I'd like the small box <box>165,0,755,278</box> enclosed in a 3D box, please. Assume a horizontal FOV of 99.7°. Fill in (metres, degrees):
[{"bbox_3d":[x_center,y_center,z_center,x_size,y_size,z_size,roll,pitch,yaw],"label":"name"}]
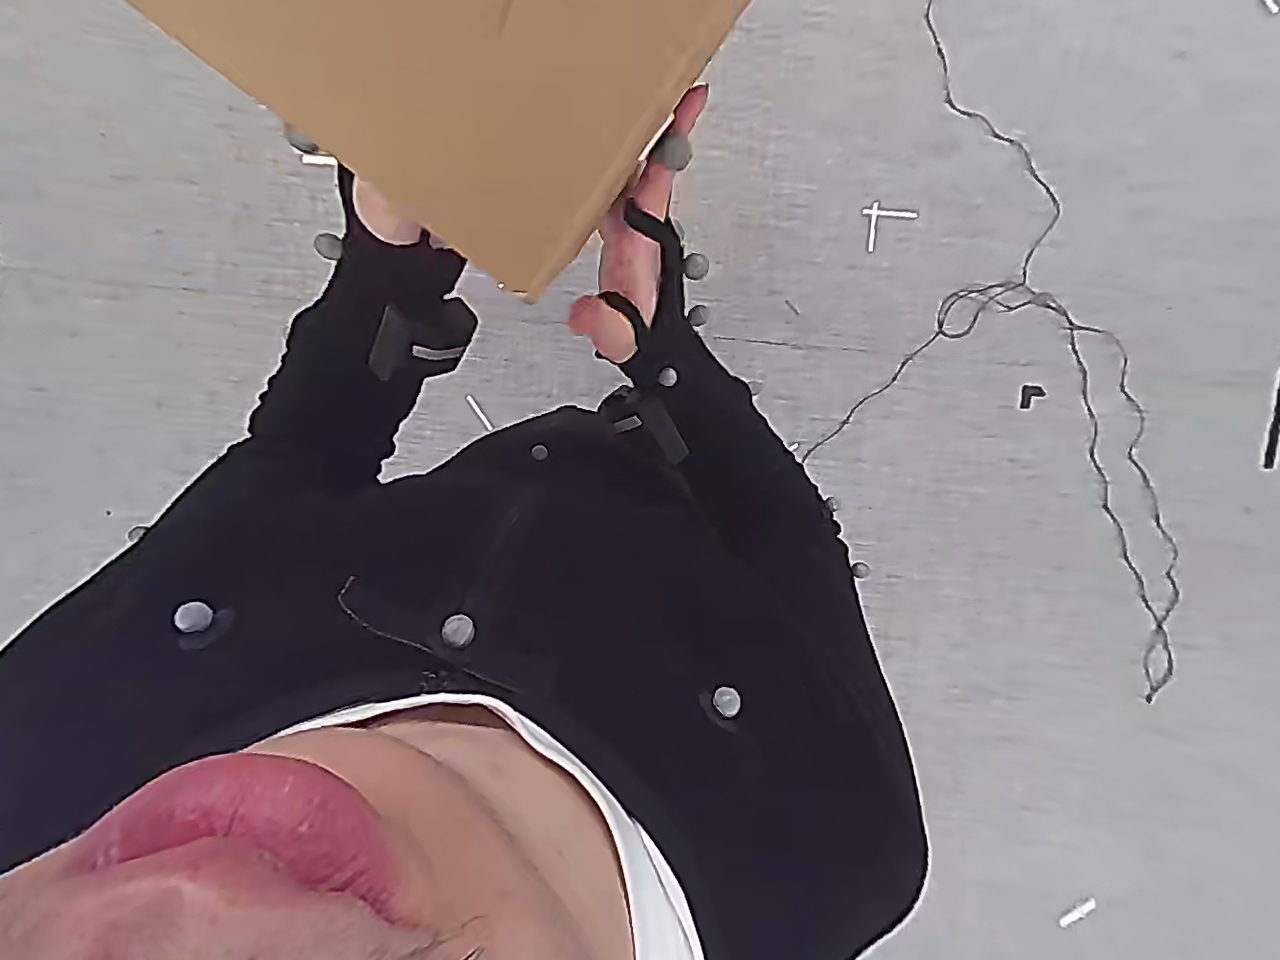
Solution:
[{"bbox_3d":[-0.051,-0.204,0.197,0.179,0.176,0.168,33,114,-17],"label":"small box"}]
